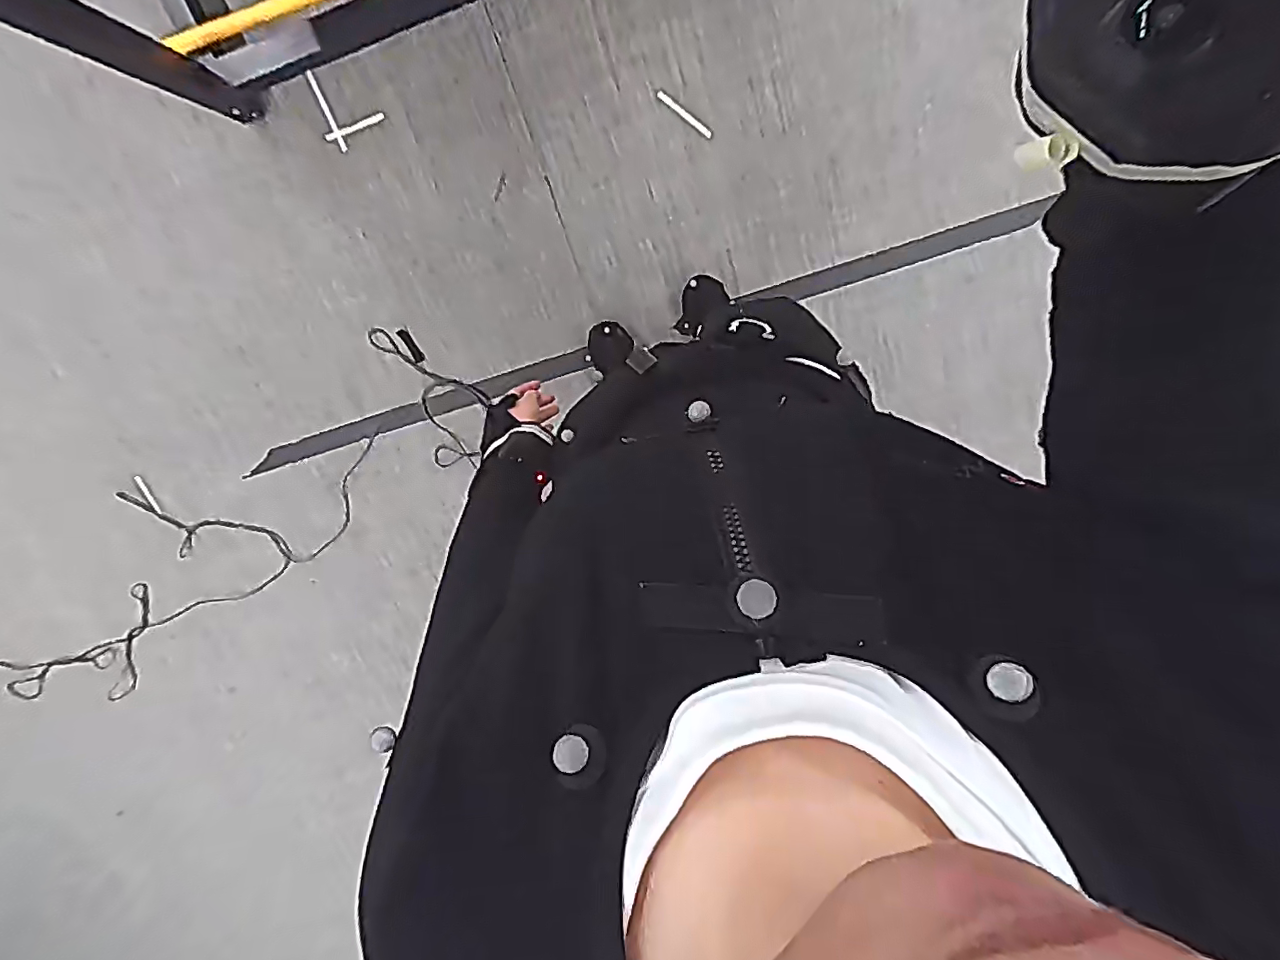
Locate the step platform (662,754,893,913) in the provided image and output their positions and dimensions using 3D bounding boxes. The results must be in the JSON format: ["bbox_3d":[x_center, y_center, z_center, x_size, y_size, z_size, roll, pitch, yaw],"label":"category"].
[{"bbox_3d":[0.421,1.105,1.691,0.684,0.204,0.286,-18,108,5],"label":"step platform"}]
